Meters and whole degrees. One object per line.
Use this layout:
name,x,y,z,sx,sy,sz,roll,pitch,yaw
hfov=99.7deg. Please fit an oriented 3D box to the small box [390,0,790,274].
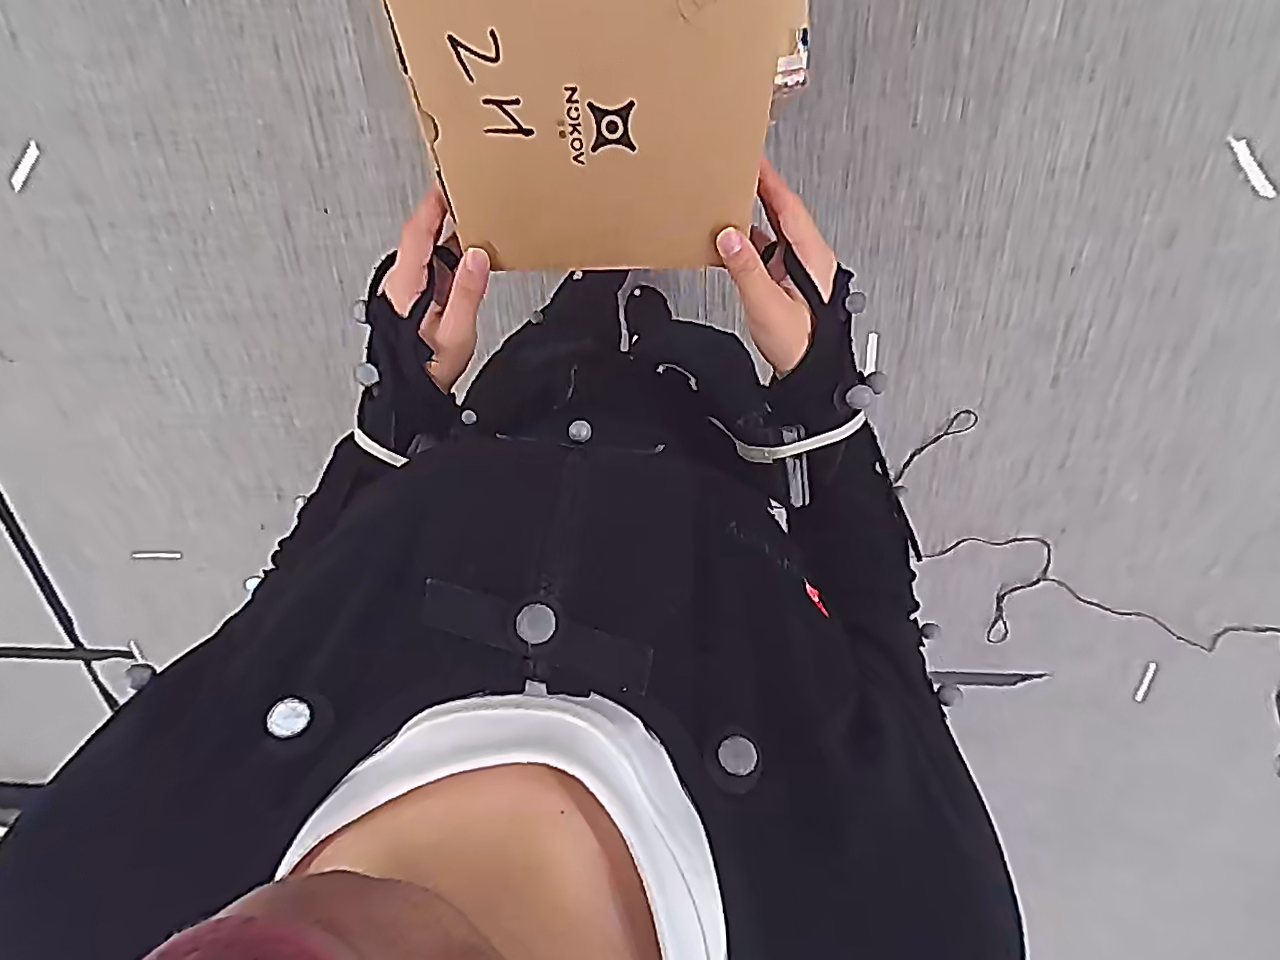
small box,-0.023,-0.246,0.322,0.179,0.176,0.168,-1,146,0
